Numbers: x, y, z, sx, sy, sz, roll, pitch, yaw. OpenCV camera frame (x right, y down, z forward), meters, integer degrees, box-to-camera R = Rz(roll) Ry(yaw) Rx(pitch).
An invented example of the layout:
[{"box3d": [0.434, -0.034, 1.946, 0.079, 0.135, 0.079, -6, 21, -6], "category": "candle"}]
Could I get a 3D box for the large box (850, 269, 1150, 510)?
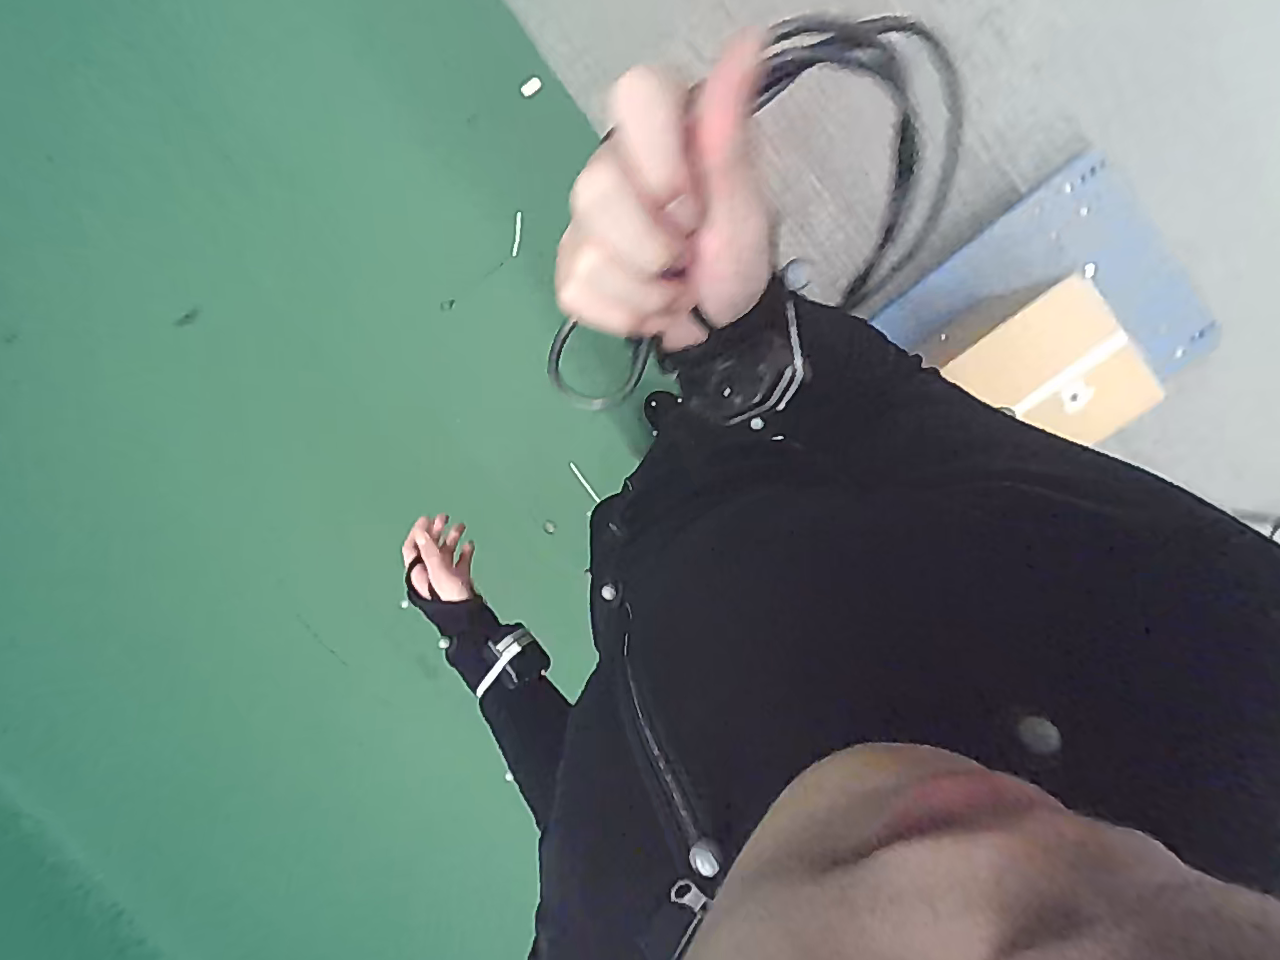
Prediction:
[{"box3d": [0.774, -0.193, 1.233, 0.408, 0.320, 0.320, -38, 96, 8], "category": "large box"}]
